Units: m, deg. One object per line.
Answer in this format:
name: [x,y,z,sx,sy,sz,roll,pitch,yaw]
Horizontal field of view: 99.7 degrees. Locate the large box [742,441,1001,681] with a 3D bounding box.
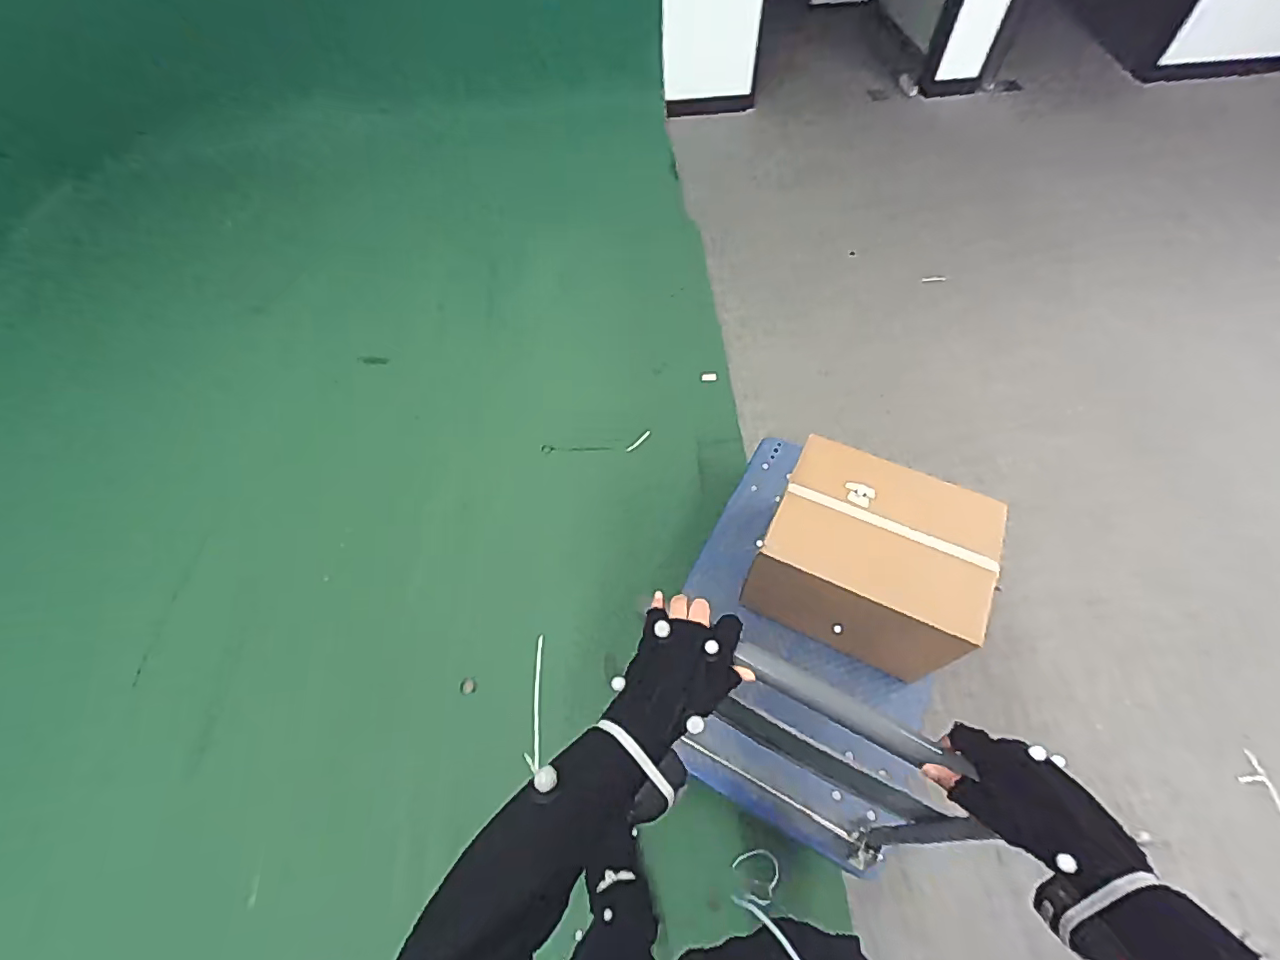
large box: [0.474,0.179,1.167,0.408,0.320,0.320,22,61,17]
